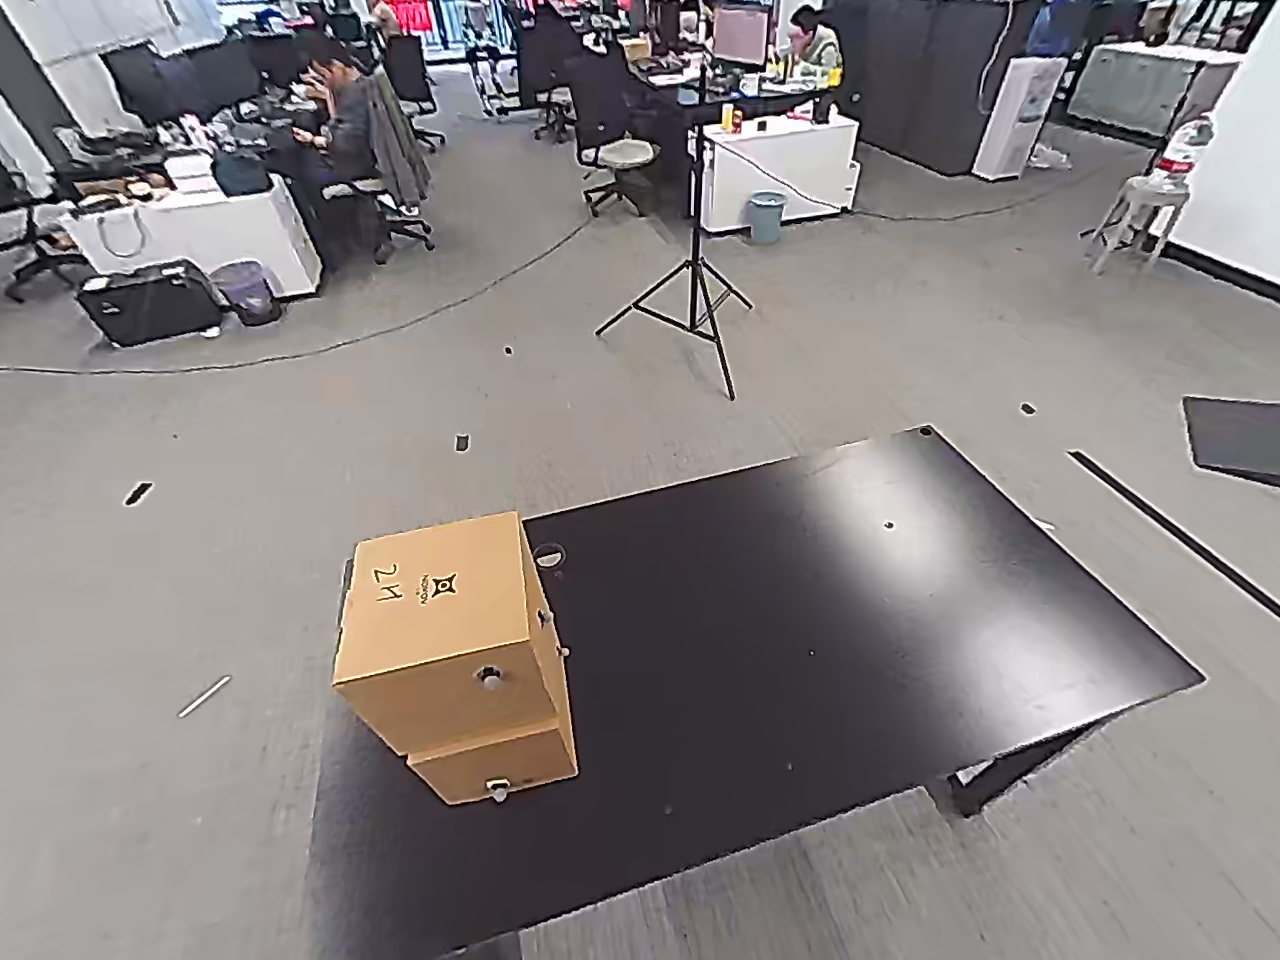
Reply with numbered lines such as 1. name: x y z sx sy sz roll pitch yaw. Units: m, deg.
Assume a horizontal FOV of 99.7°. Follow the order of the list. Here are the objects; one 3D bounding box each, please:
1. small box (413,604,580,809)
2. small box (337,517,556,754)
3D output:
1. small box: -0.177 0.290 0.699 0.168 0.176 0.179 -12 46 -7
2. small box: -0.191 0.169 0.588 0.179 0.176 0.168 -12 44 -7
